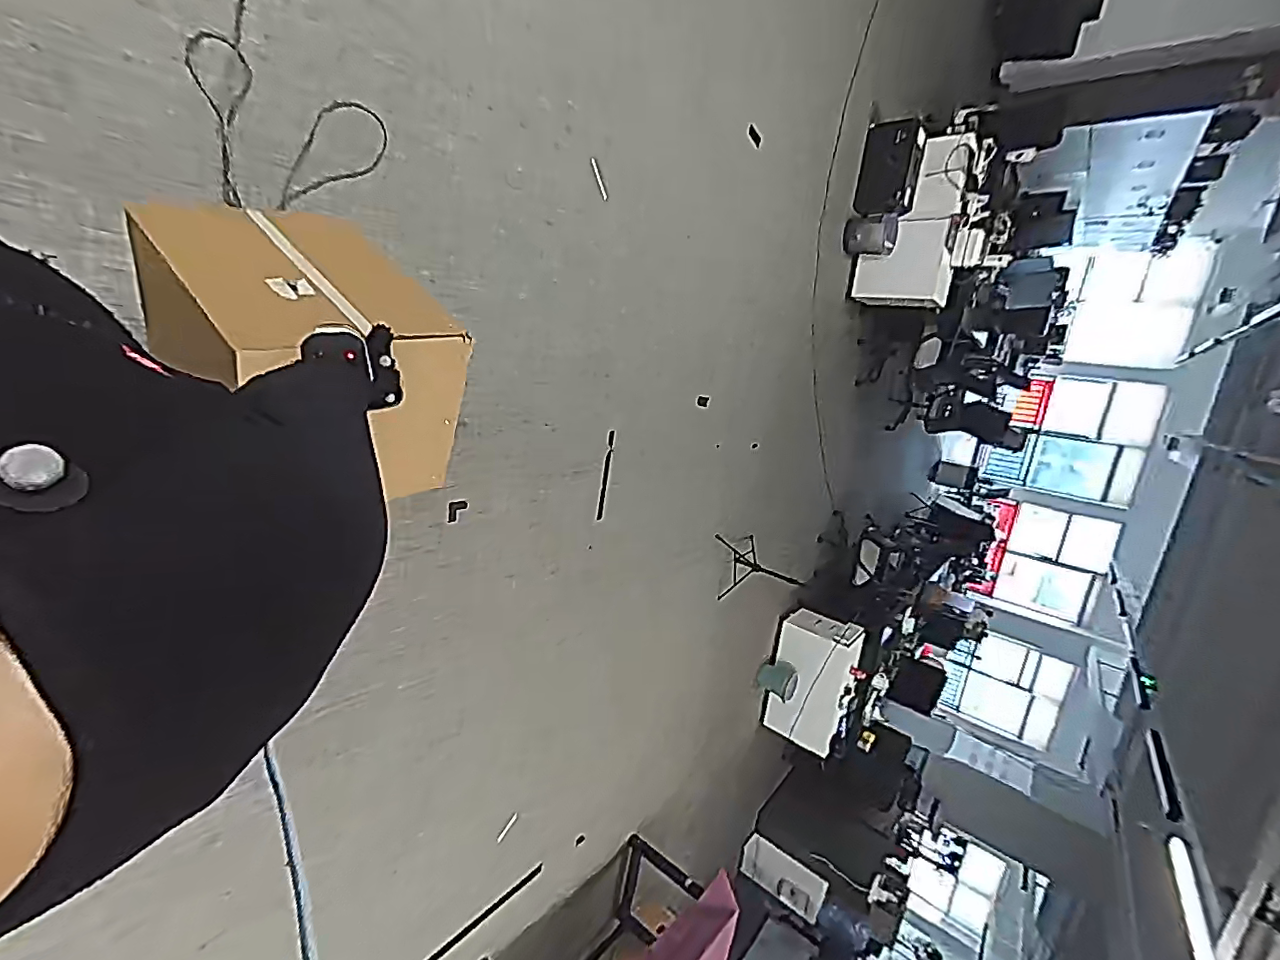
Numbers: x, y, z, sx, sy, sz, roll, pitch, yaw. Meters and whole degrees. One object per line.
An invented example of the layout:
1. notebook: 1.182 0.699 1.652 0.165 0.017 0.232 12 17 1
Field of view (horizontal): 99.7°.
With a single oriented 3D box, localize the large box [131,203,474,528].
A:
1. large box: -0.547 -0.196 0.890 0.320 0.408 0.320 -23 149 -47
